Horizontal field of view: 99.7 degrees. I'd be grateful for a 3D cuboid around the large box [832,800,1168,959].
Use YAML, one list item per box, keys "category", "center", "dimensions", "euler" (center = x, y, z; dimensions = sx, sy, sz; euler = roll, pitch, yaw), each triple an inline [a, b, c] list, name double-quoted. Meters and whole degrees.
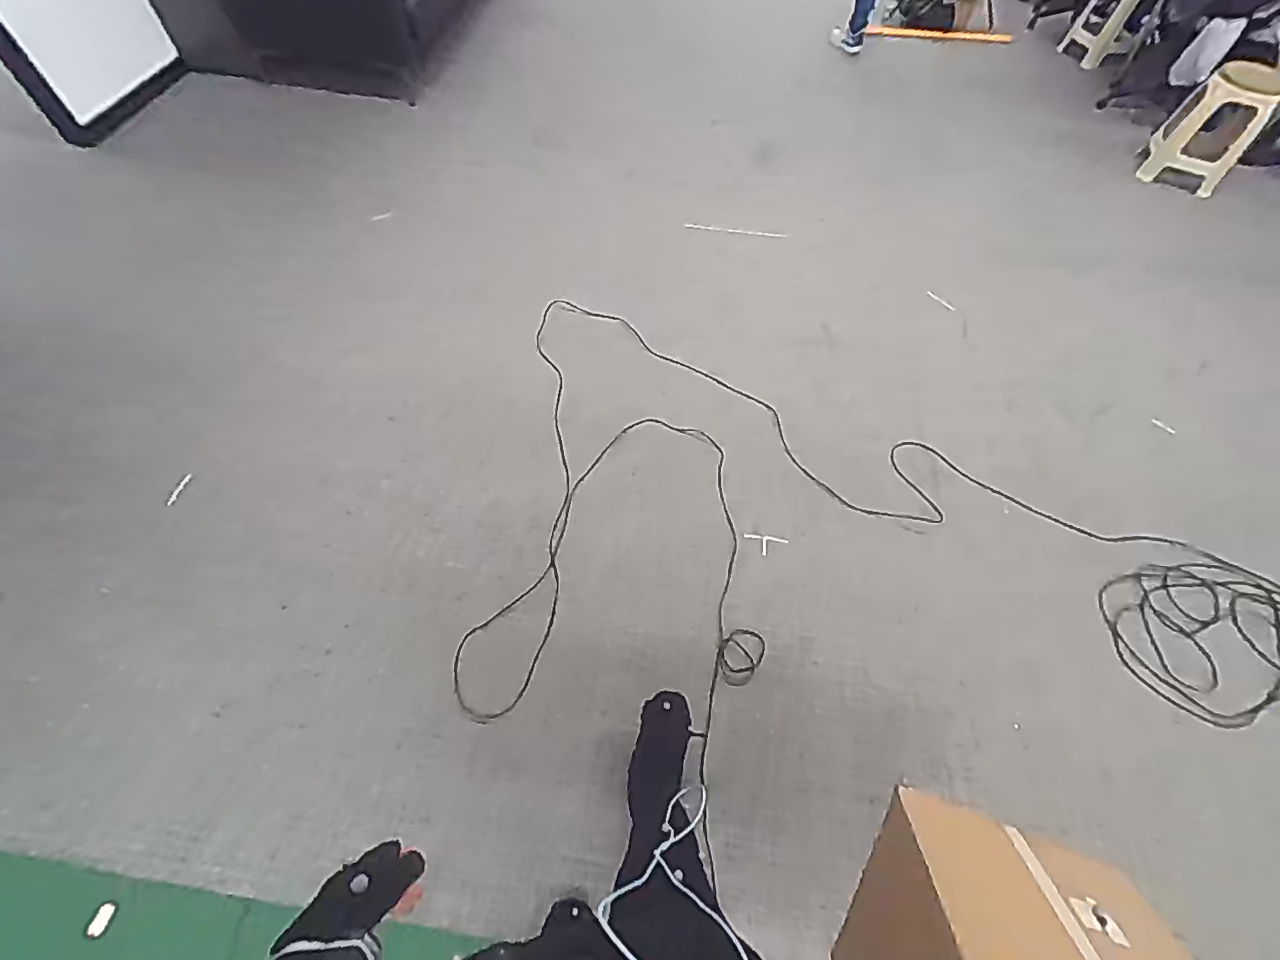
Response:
- category: "large box"
  center: [0.442, 0.687, 0.623]
  dimensions: [0.320, 0.408, 0.320]
  euler: [18, 97, 10]
